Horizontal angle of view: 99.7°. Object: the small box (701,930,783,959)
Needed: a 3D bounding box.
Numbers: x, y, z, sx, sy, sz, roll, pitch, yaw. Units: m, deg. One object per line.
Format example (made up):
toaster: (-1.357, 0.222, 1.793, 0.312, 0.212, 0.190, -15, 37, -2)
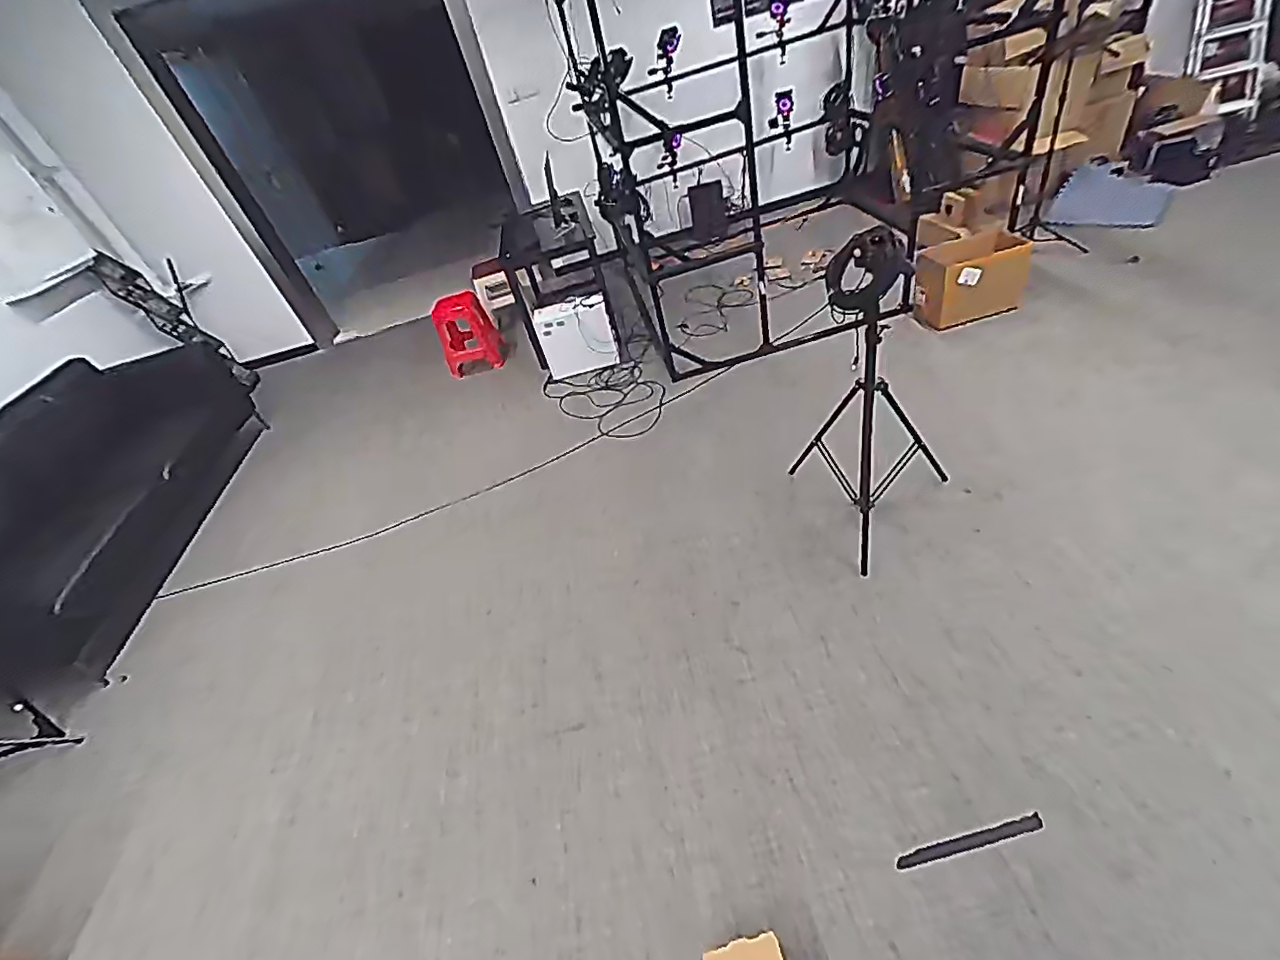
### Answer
small box: (0.239, 1.093, 1.136, 0.168, 0.176, 0.179, -18, 39, 1)
